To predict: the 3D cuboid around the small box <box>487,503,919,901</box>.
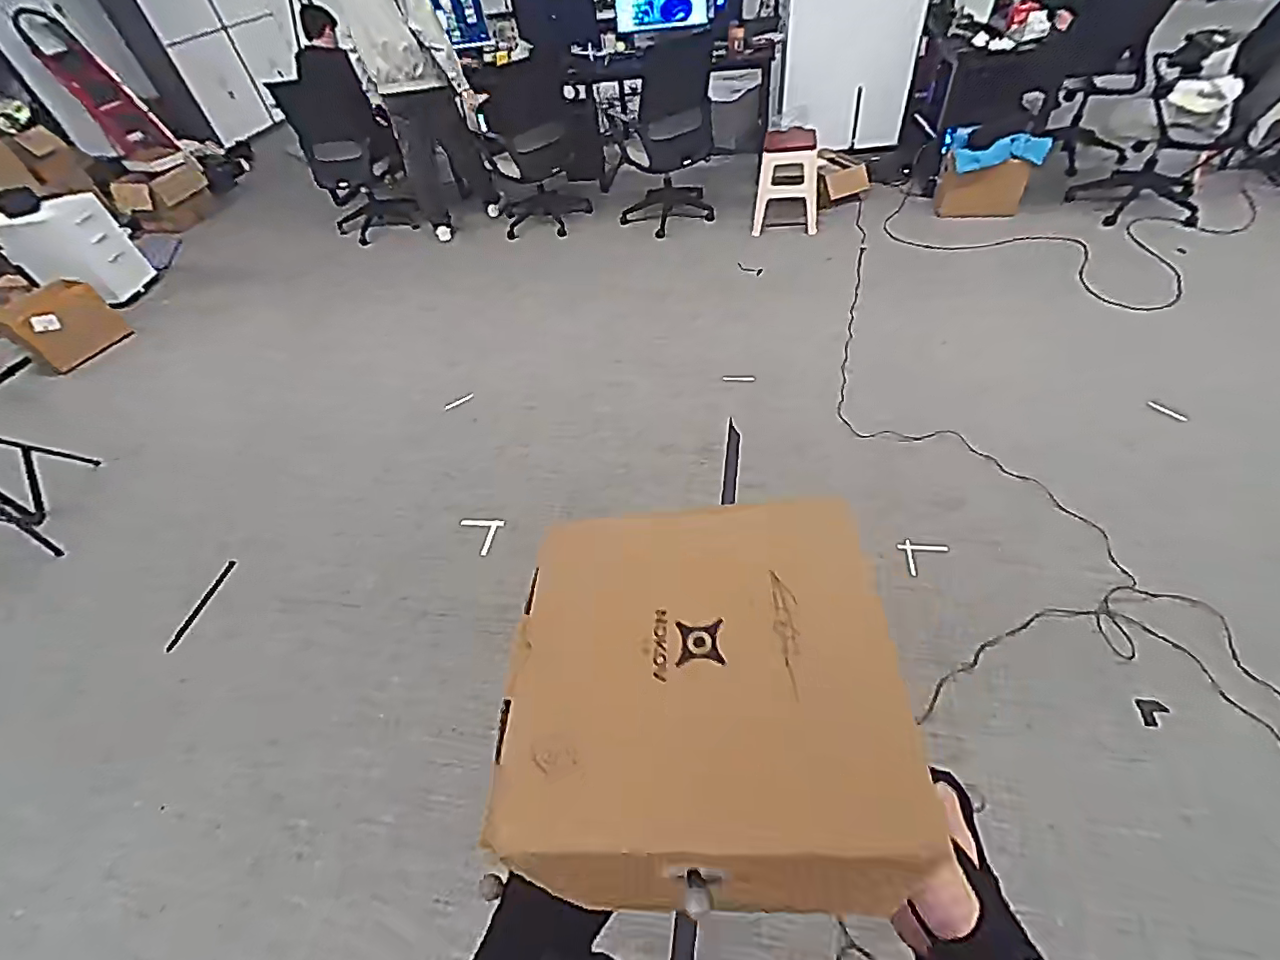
[{"bbox_3d":[0.039,0.137,0.322,0.179,0.176,0.168,-7,46,9],"label":"small box"}]
